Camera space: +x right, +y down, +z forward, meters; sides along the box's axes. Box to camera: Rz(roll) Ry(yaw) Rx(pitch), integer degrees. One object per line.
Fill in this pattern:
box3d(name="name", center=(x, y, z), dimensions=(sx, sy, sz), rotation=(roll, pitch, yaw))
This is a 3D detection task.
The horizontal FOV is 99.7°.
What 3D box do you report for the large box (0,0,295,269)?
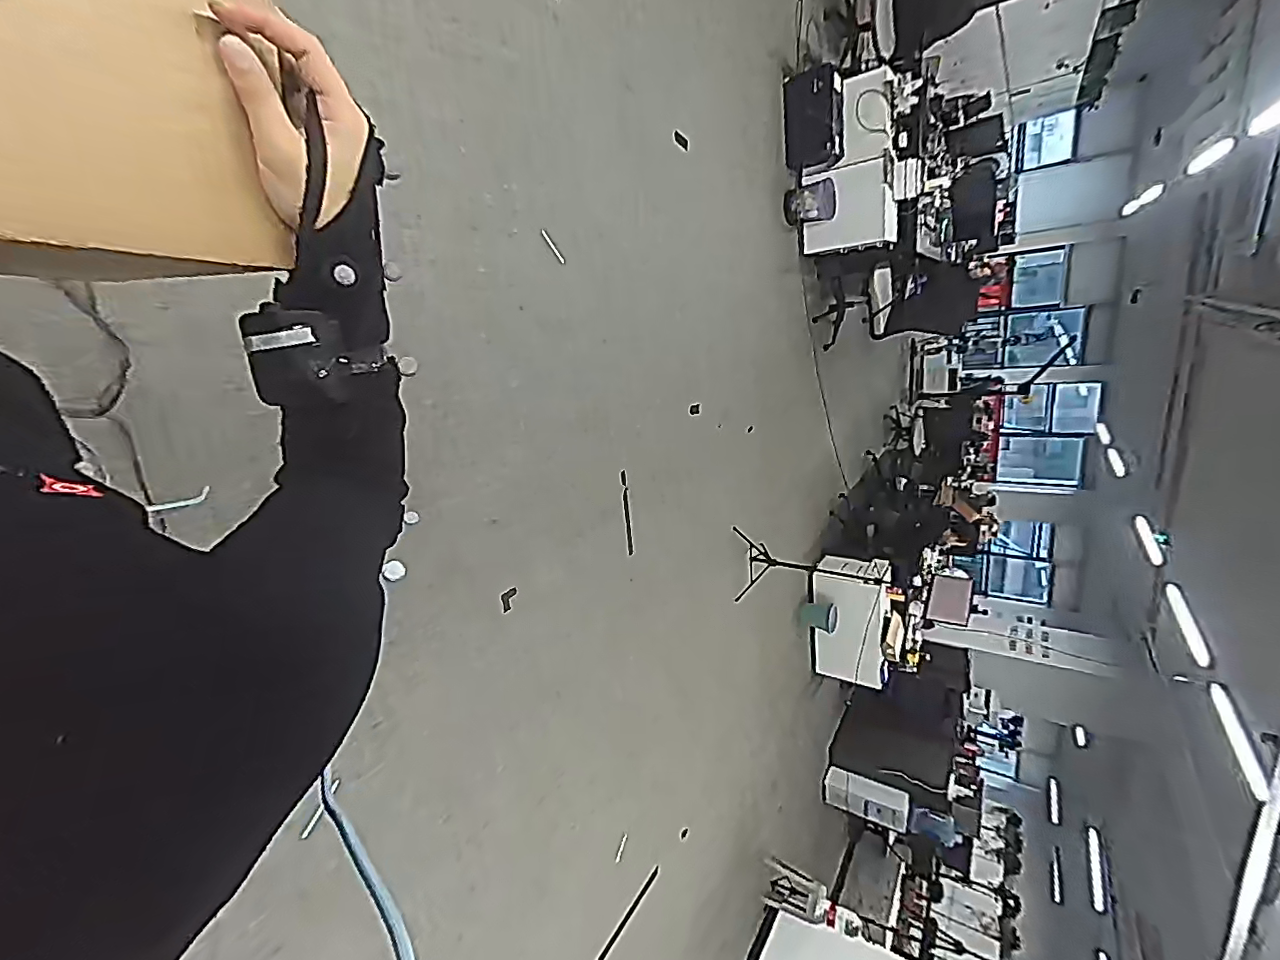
box3d(name="large box", center=(-0.449, -0.271, 0.218), dimensions=(0.408, 0.320, 0.320), rotation=(-23, 120, -57))
